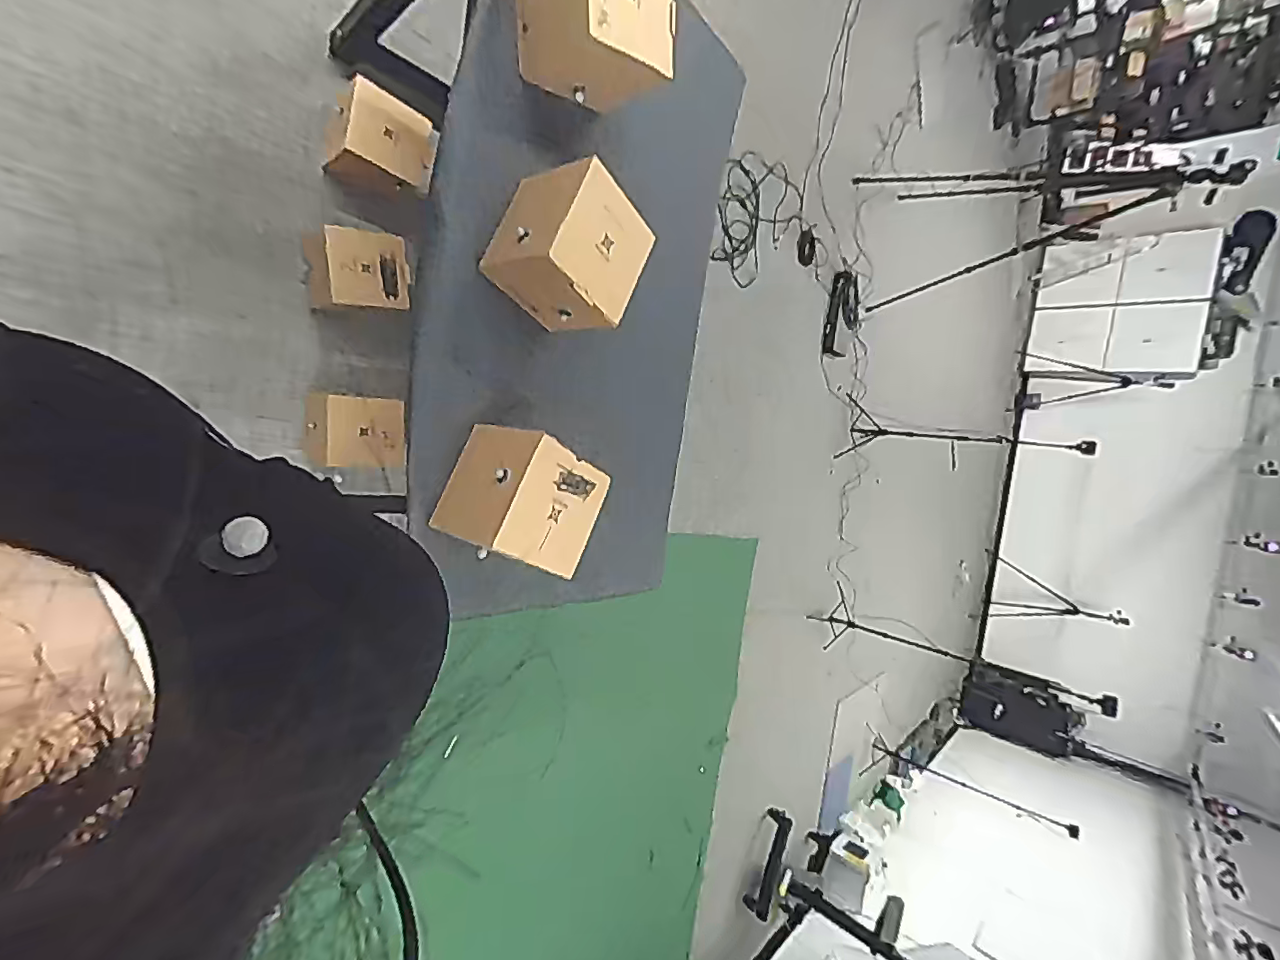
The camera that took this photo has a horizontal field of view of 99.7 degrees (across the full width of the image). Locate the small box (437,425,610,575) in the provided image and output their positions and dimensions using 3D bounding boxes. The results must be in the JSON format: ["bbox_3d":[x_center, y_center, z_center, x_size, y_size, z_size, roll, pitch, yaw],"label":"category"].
[{"bbox_3d":[-0.181,0.026,0.840,0.168,0.176,0.179,36,70,-47],"label":"small box"}]

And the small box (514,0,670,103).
[{"bbox_3d":[-0.072,-0.709,0.823,0.179,0.176,0.168,-14,107,-45],"label":"small box"}]

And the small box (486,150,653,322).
[{"bbox_3d":[-0.113,-0.364,0.846,0.168,0.176,0.179,34,71,-48],"label":"small box"}]

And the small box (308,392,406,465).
[{"bbox_3d":[-0.702,-0.127,1.334,0.179,0.176,0.168,-3,100,-47],"label":"small box"}]

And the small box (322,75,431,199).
[{"bbox_3d":[-0.630,-0.801,1.288,0.179,0.176,0.168,10,90,-48],"label":"small box"}]
